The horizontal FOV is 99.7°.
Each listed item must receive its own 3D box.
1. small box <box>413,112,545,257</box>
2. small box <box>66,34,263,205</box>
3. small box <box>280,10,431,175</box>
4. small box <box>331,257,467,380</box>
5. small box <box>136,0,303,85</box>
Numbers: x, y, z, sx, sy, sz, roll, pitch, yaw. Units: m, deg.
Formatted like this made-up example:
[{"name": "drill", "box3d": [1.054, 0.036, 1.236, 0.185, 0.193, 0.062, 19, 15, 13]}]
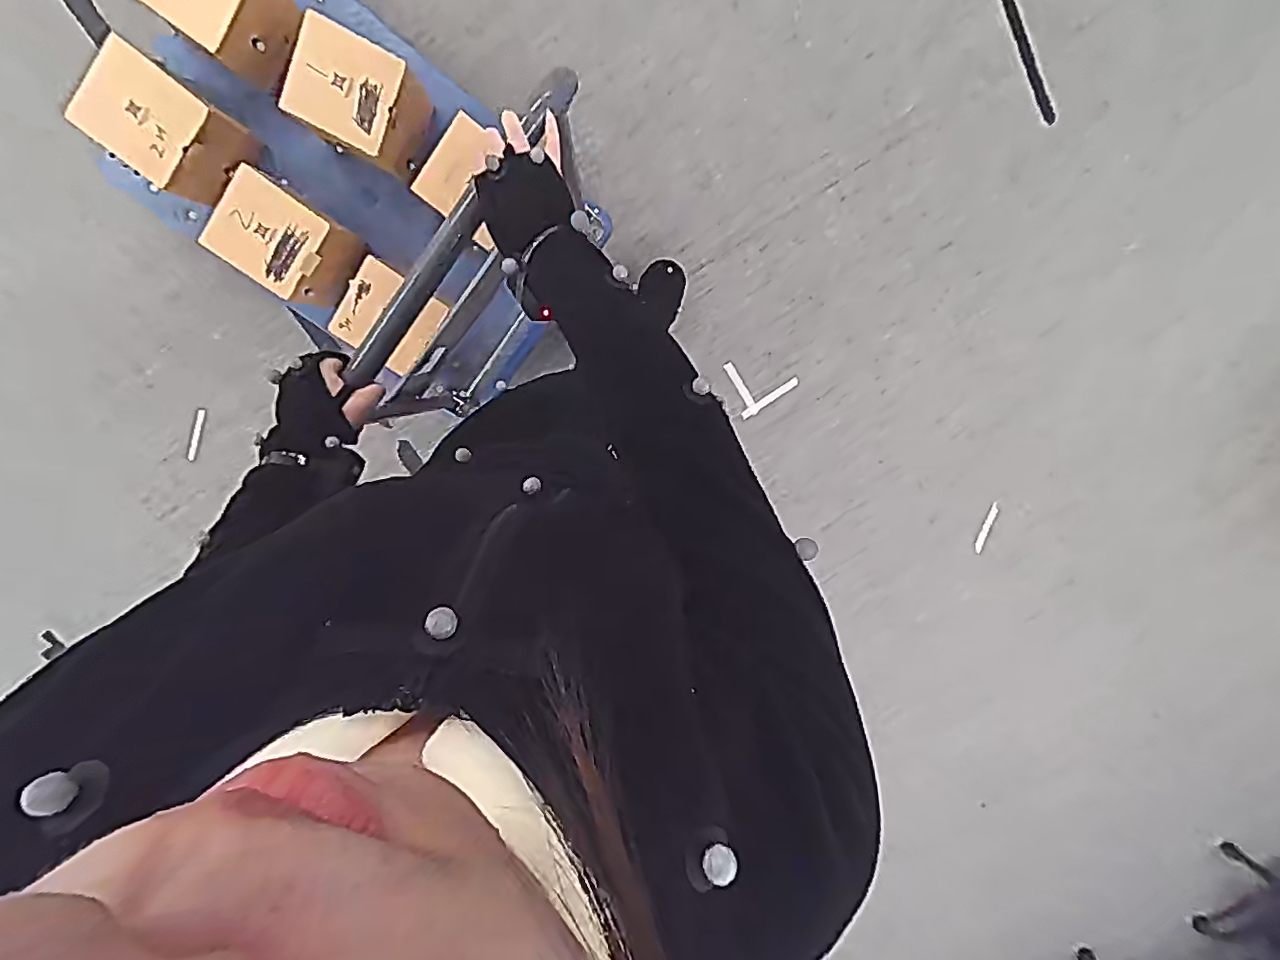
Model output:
[{"name": "small box", "box3d": [-0.302, -0.563, 1.063, 0.179, 0.176, 0.168, 36, 98, -12]}, {"name": "small box", "box3d": [-0.851, -0.637, 0.987, 0.179, 0.176, 0.168, 37, 98, -14]}, {"name": "small box", "box3d": [-0.514, -0.699, 1.006, 0.179, 0.176, 0.168, 24, 101, -10]}, {"name": "small box", "box3d": [-0.478, -0.327, 1.106, 0.179, 0.176, 0.168, 32, 99, -13]}, {"name": "small box", "box3d": [-0.740, -0.841, 0.947, 0.179, 0.176, 0.168, 33, 99, -13]}]
